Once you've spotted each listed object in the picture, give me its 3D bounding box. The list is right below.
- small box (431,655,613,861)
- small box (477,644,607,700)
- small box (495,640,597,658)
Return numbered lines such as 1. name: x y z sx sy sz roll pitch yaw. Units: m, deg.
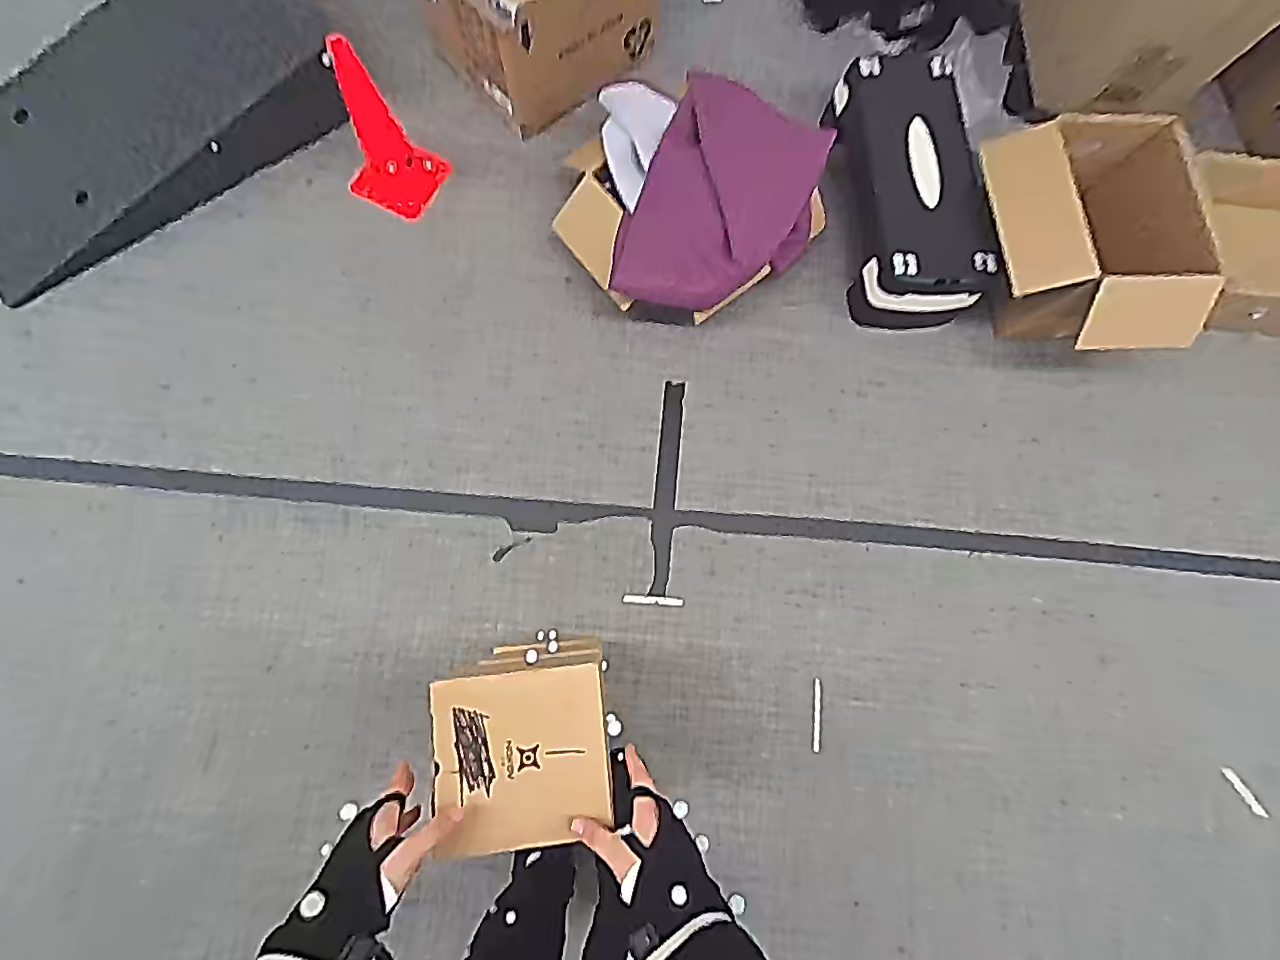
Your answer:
1. small box: -0.124 0.299 0.620 0.179 0.176 0.168 -5 77 -5
2. small box: -0.131 0.341 0.780 0.168 0.176 0.179 -5 77 -4
3. small box: -0.154 0.373 0.939 0.168 0.176 0.179 -3 77 -4
